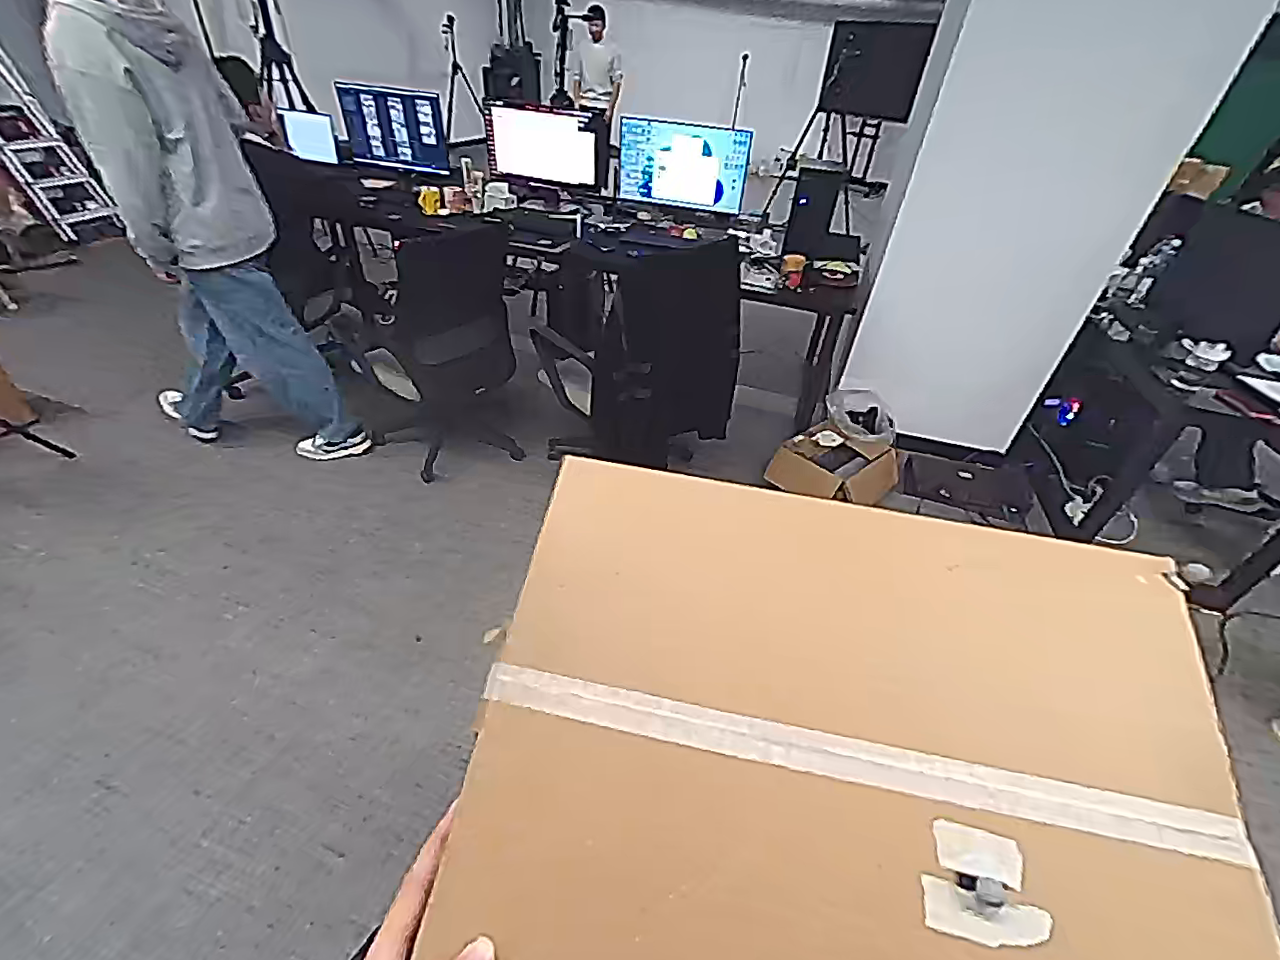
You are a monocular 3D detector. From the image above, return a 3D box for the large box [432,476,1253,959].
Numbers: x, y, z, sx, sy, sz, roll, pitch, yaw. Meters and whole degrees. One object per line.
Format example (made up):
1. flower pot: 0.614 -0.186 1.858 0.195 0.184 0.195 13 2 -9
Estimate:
1. large box: 0.112 0.226 0.438 0.408 0.320 0.320 9 64 5
